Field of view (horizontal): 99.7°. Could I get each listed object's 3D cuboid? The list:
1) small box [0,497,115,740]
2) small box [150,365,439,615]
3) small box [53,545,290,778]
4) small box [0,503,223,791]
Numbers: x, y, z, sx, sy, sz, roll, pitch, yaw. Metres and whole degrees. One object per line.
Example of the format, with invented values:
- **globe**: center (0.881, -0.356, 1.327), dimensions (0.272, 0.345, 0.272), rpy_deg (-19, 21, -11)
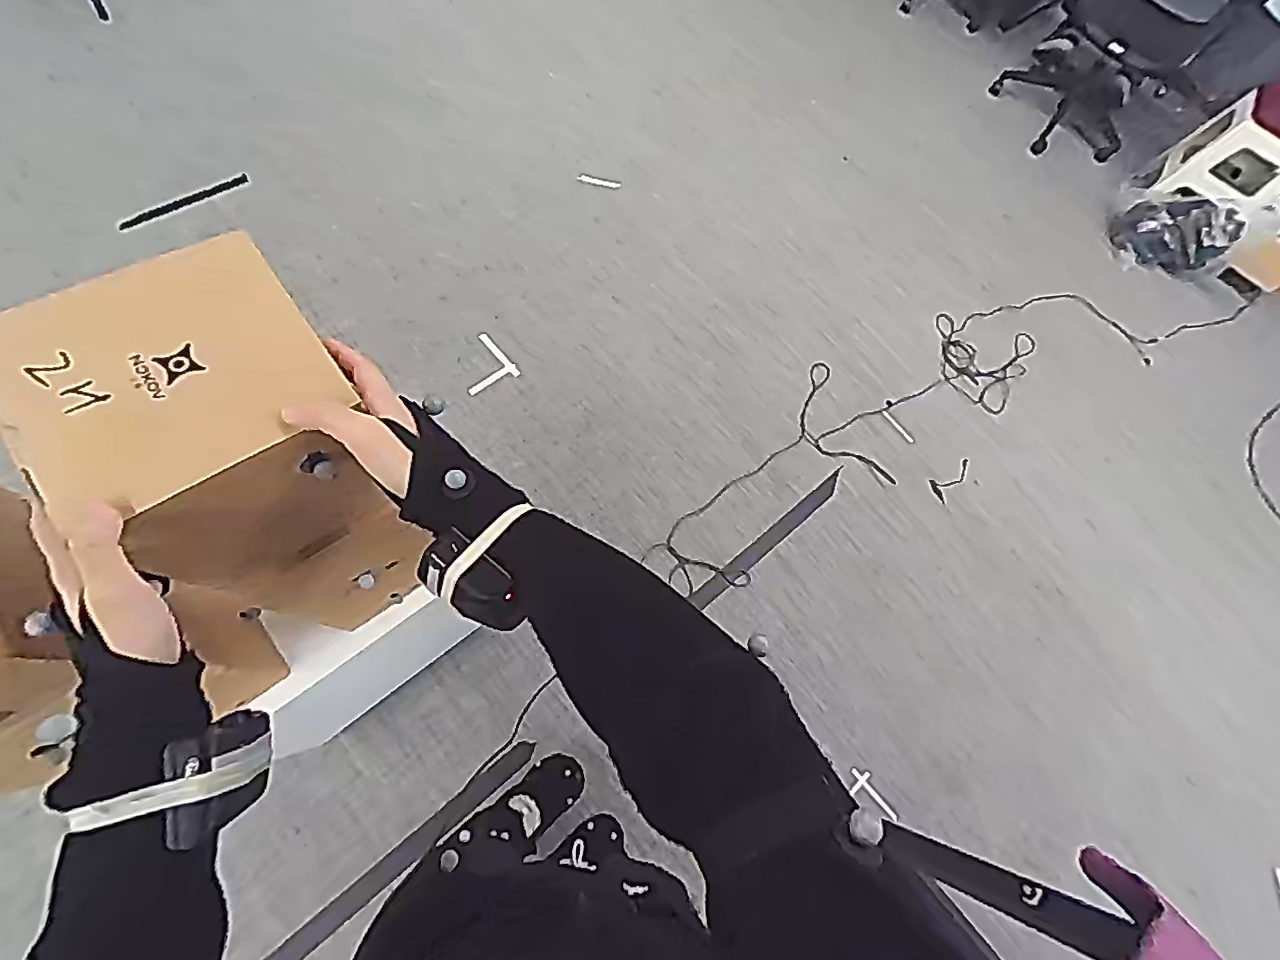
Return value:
- **small box**: center (-0.502, 0.094, 0.332), dimensions (0.168, 0.176, 0.179), rpy_deg (-38, 81, -20)
- **small box**: center (-0.337, 0.021, 0.565), dimensions (0.168, 0.176, 0.179), rpy_deg (-34, 80, -20)
- **small box**: center (-0.559, 0.209, 0.631), dimensions (0.168, 0.176, 0.179), rpy_deg (-36, 78, -20)
- **small box**: center (-0.530, 0.153, 0.481), dimensions (0.168, 0.176, 0.179), rpy_deg (-37, 80, -21)
